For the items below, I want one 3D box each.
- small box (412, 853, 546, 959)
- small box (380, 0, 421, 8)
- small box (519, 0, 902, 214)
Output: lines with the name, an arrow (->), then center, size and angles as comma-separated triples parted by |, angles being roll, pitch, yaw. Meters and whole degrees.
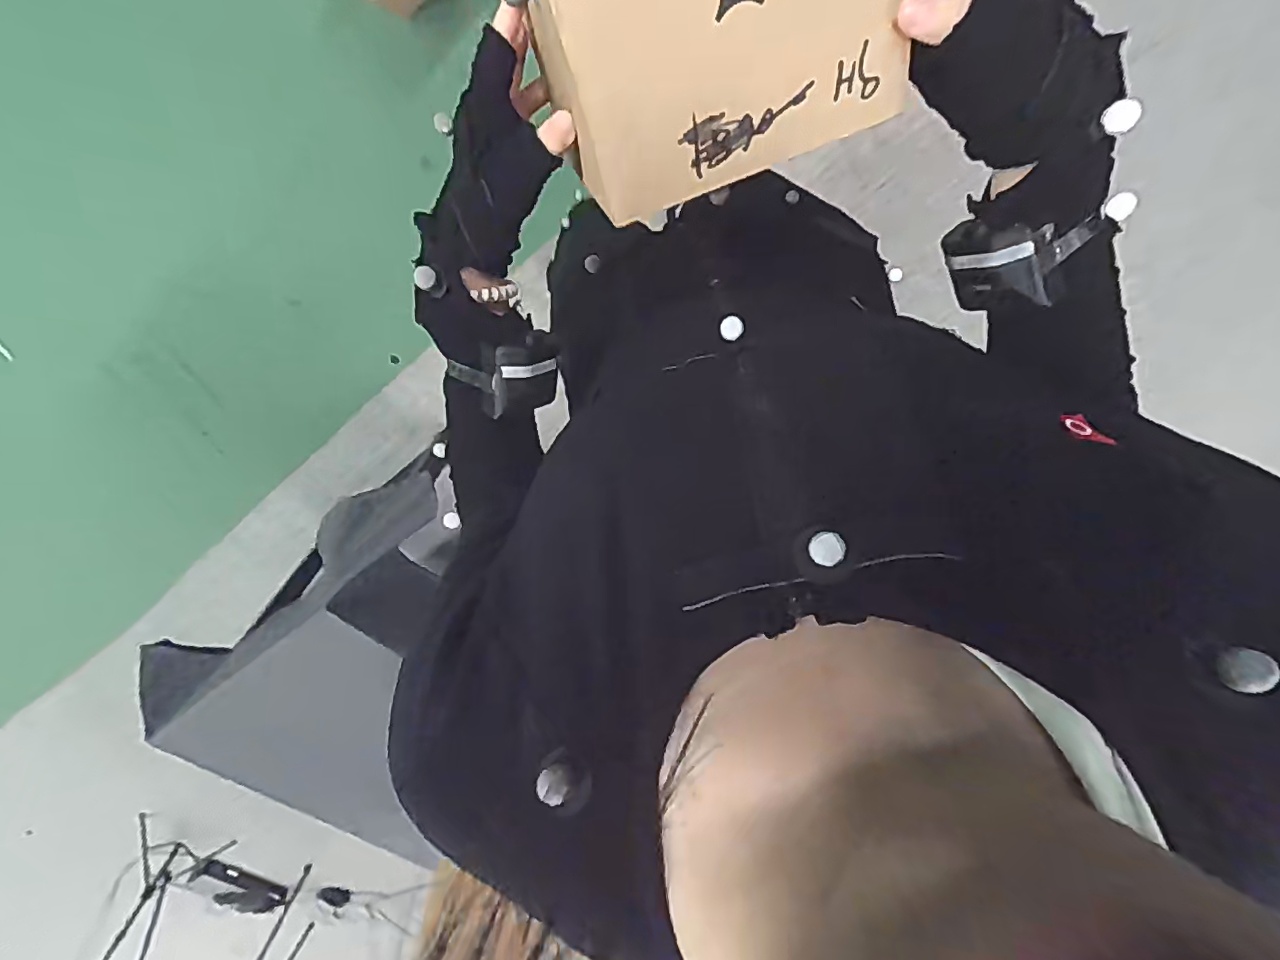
small box -> -0.304, 0.867, 1.053 | 0.179, 0.176, 0.168 | -34, 116, 19
small box -> -0.434, -0.974, 0.942 | 0.168, 0.176, 0.179 | -29, 118, 16
small box -> 0.019, -0.280, 0.295 | 0.168, 0.176, 0.179 | -21, 132, 2
